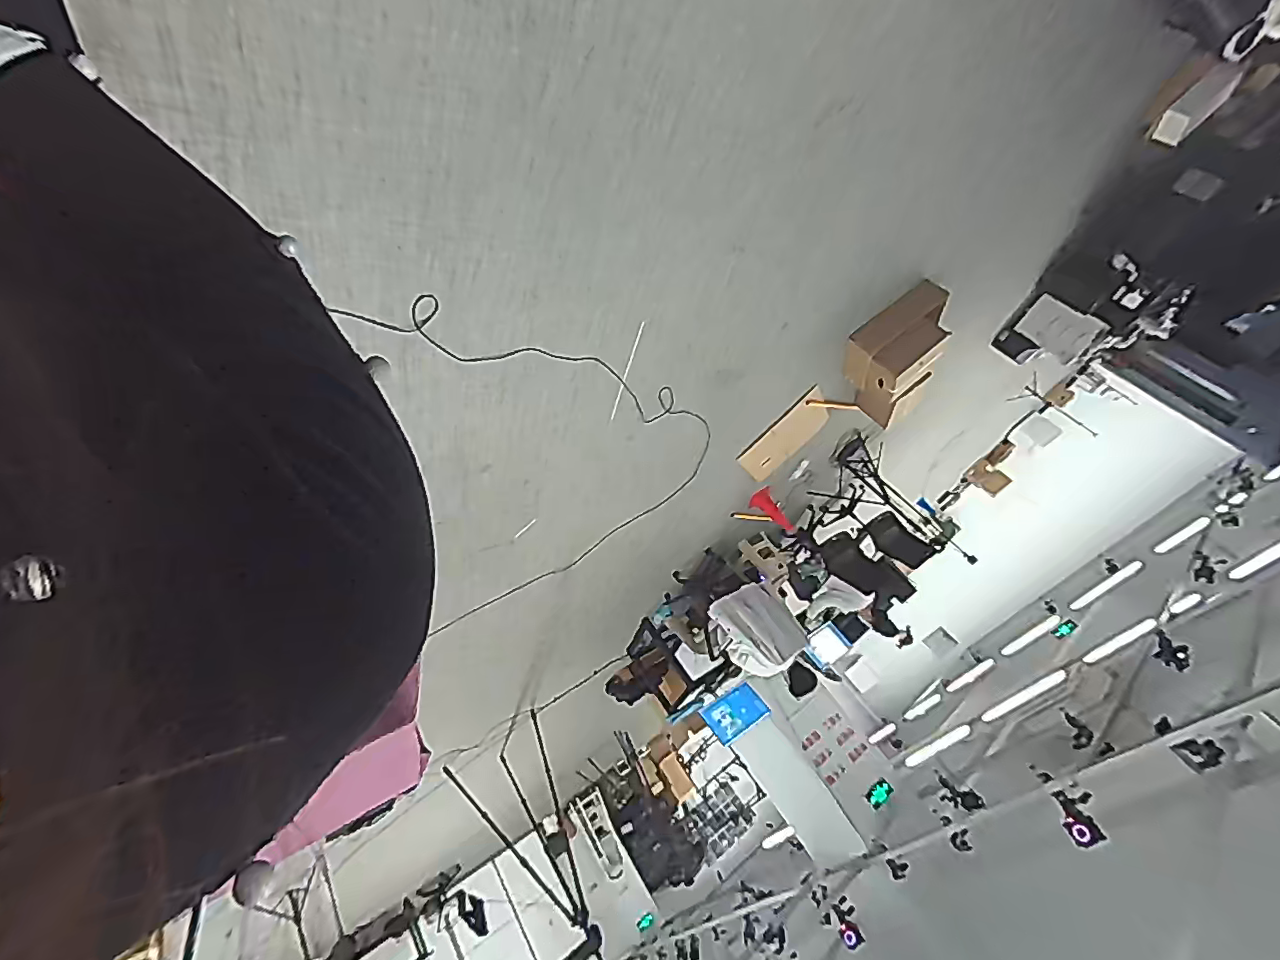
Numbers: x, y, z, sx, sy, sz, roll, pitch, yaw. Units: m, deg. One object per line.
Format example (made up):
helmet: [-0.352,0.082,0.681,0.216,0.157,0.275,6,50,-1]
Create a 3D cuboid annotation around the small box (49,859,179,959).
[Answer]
small box: [-1.219,1.028,1.258,0.179,0.176,0.168,-17,145,-35]
